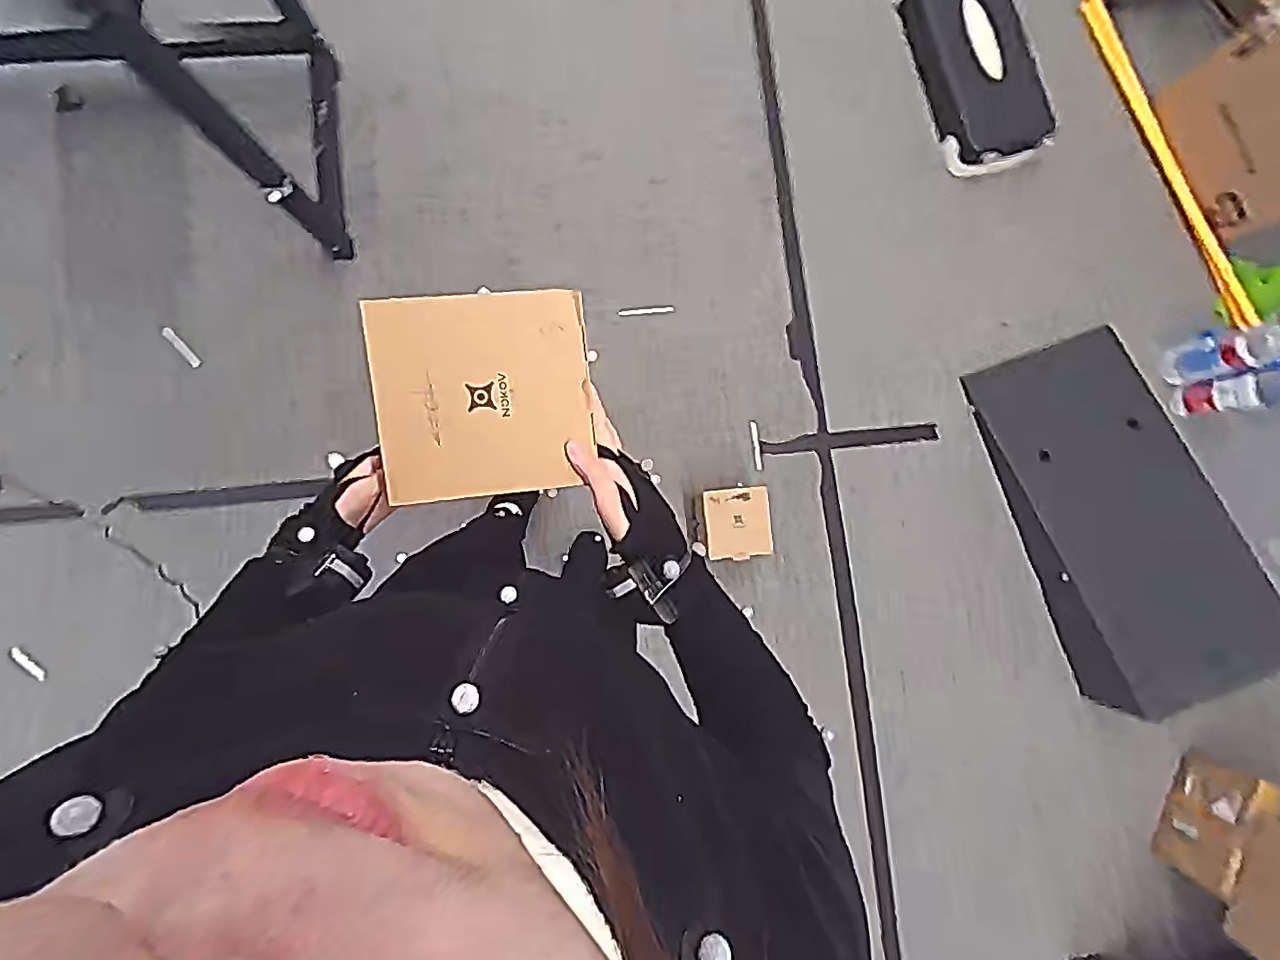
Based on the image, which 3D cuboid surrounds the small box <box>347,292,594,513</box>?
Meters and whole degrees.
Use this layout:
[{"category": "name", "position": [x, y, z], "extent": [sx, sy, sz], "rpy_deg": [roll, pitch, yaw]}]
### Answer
[{"category": "small box", "position": [-0.144, -0.070, 0.508], "extent": [0.179, 0.176, 0.168], "rpy_deg": [-7, 96, -8]}]

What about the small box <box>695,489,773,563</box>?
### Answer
[{"category": "small box", "position": [0.243, 0.115, 1.425], "extent": [0.168, 0.176, 0.179], "rpy_deg": [-4, 89, -3]}]
